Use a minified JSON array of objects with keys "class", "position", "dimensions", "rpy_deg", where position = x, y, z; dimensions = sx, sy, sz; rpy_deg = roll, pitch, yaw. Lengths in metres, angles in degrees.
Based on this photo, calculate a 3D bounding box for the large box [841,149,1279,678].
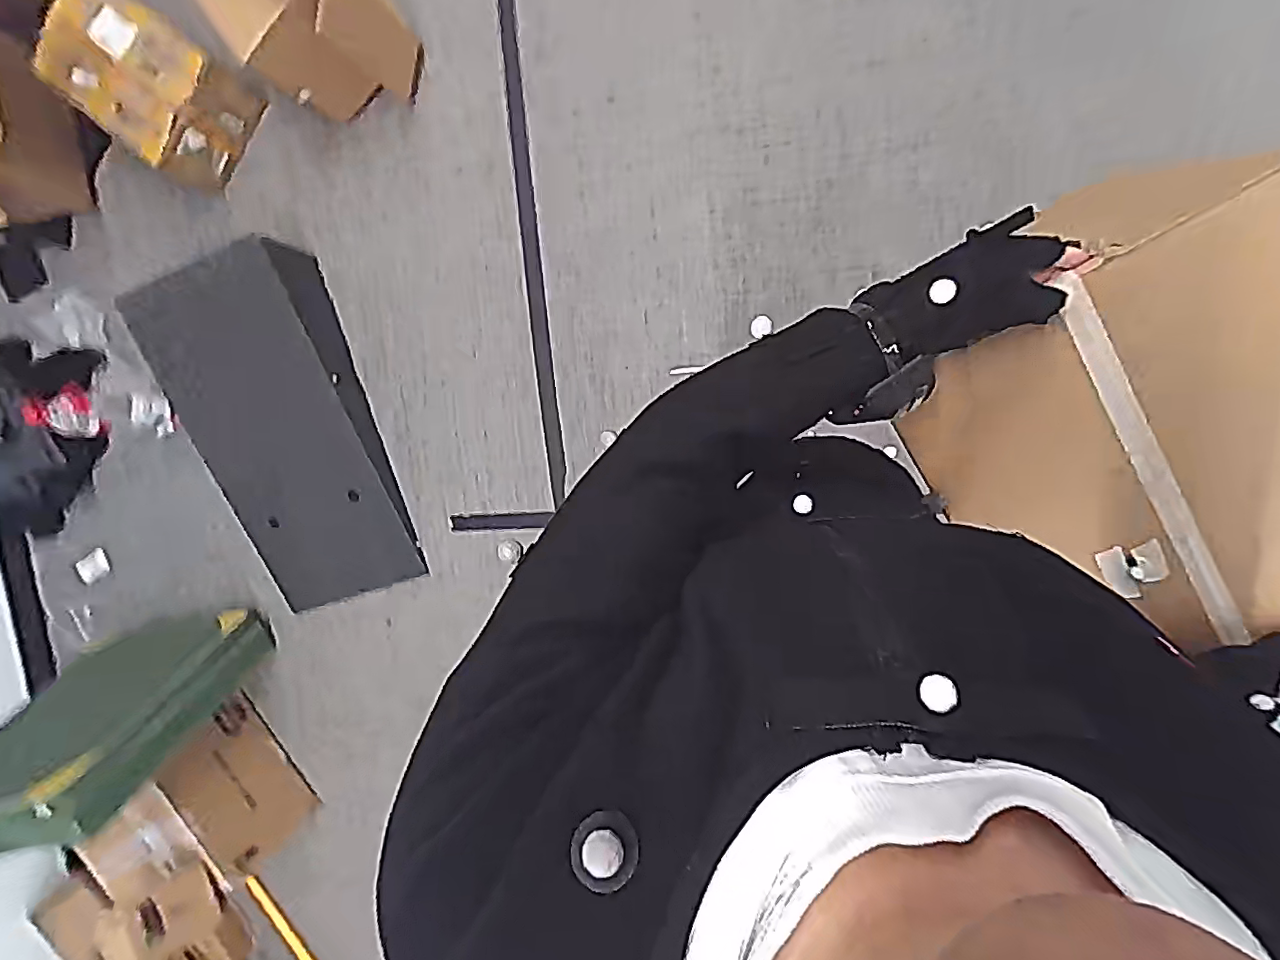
[{"class":"large box","position":[0.478,-0.071,0.609],"dimensions":[0.320,0.320,0.408],"rpy_deg":[-30,104,26]}]
